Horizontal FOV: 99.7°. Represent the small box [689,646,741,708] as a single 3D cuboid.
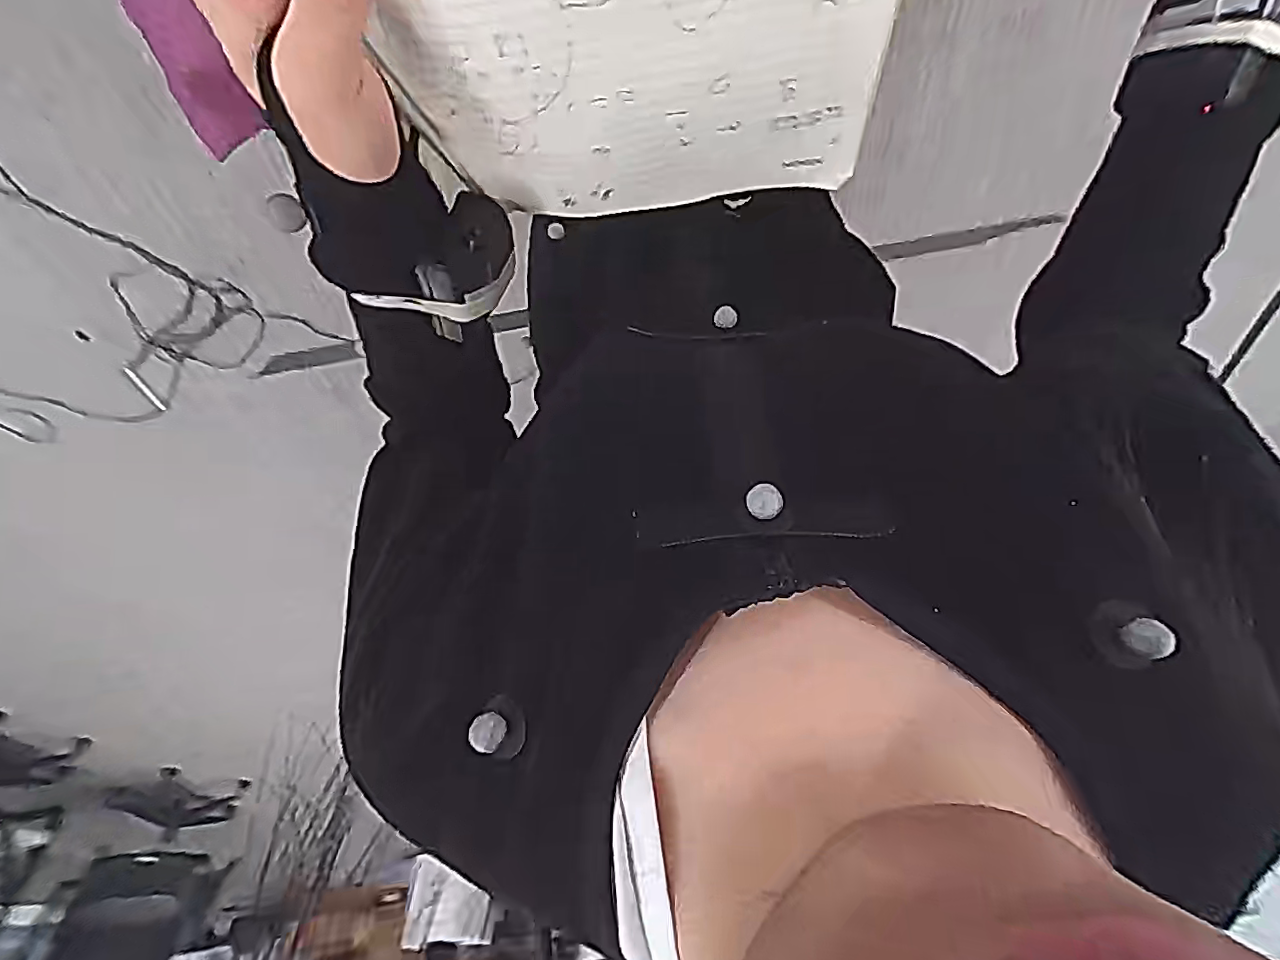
[{"bbox_3d":[0.285,0.760,2.103,0.168,0.176,0.179,-7,134,-3],"label":"small box"}]
